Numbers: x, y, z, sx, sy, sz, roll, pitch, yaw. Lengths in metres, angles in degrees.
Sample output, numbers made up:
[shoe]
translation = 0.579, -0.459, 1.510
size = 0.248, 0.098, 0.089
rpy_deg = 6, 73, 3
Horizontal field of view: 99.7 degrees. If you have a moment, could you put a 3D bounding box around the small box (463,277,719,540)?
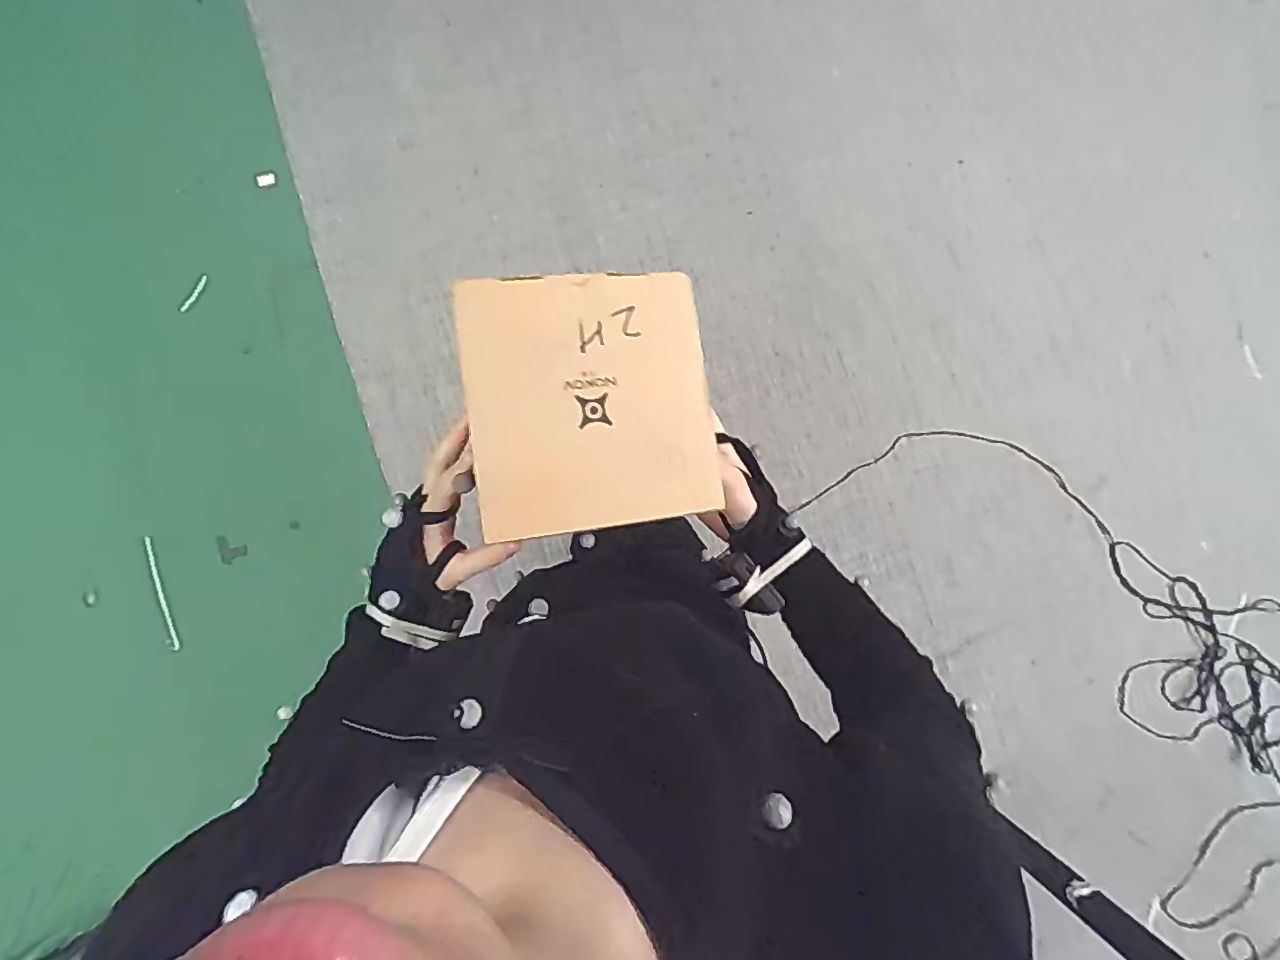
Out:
[small box]
translation = -0.048, -0.049, 0.449
size = 0.168, 0.176, 0.179
rpy_deg = -6, 86, -14
